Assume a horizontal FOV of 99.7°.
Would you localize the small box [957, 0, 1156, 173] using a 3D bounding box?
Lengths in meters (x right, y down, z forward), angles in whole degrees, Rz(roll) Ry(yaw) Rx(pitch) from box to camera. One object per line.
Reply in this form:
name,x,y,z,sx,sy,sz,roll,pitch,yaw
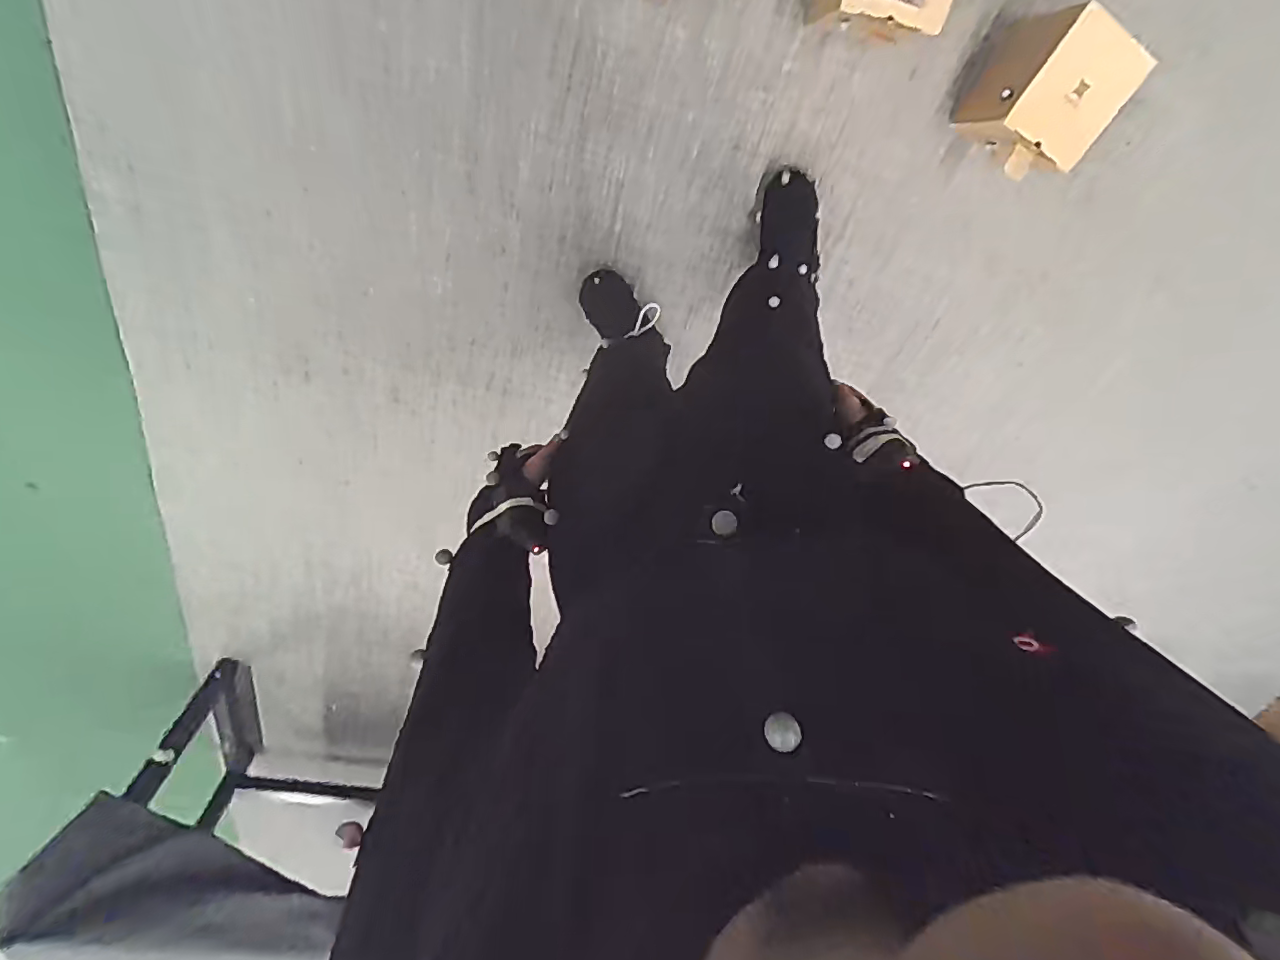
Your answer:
small box,0.697,-0.662,0.930,0.168,0.176,0.179,22,119,-17
